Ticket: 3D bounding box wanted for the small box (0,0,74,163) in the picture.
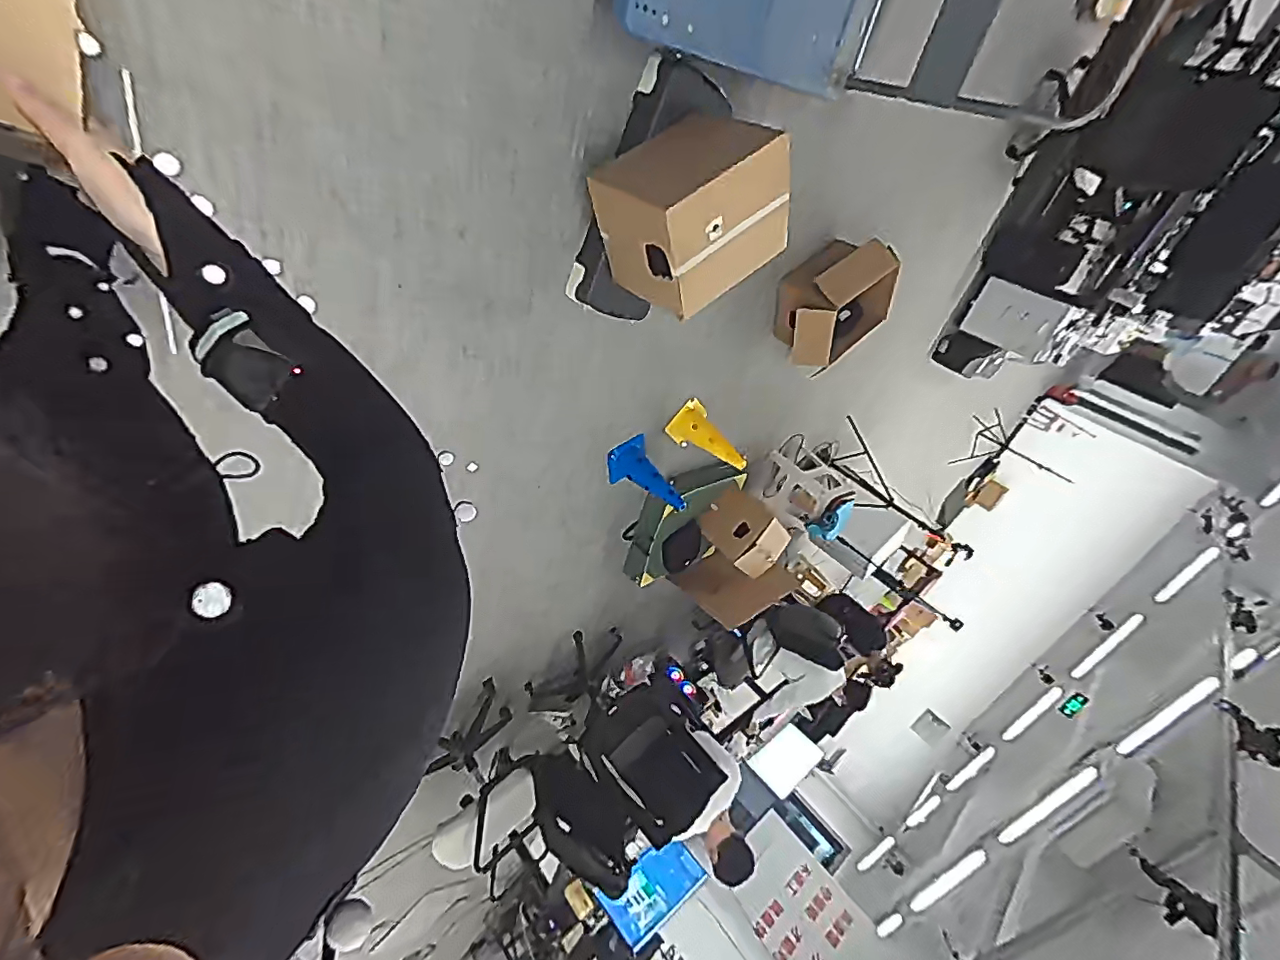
[{"bbox_3d":[-0.478,-0.322,0.336,0.168,0.176,0.179,-6,110,-49],"label":"small box"}]
